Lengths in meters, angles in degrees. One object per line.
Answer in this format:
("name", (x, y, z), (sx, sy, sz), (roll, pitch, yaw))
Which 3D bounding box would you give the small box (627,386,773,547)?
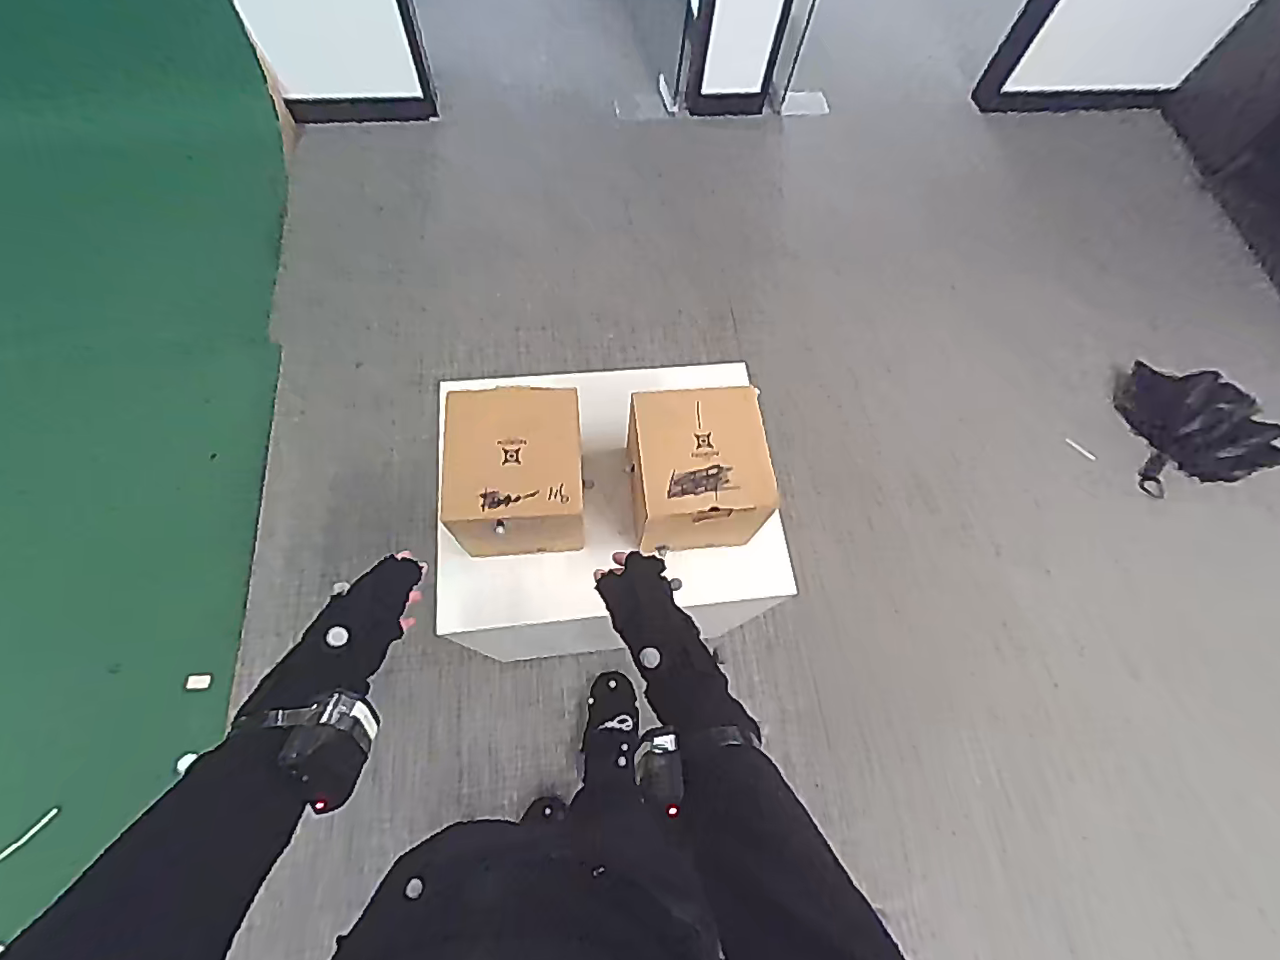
("small box", (0.072, -0.010, 0.759), (0.168, 0.176, 0.179), (-4, 67, -6))

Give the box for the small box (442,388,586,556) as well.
("small box", (-0.161, -0.006, 0.741), (0.168, 0.176, 0.179), (-3, 67, -5))
